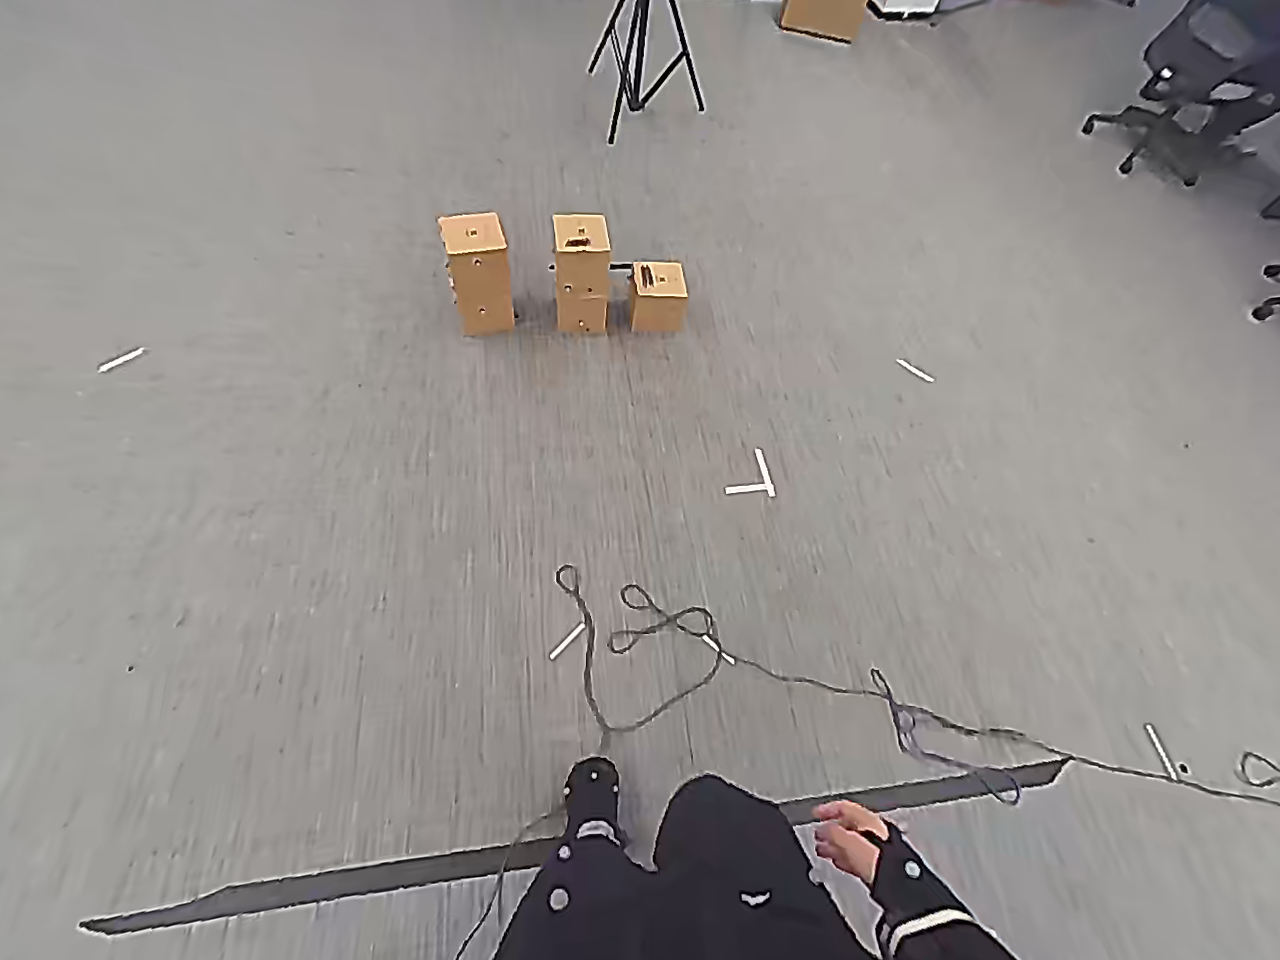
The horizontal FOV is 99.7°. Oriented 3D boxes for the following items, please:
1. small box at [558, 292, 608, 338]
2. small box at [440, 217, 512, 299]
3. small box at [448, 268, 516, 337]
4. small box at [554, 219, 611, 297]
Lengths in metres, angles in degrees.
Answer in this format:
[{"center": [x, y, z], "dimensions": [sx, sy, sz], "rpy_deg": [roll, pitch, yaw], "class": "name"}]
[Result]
[{"center": [-0.202, -0.618, 1.868], "dimensions": [0.168, 0.176, 0.179], "rpy_deg": [-1, 62, -8], "class": "small box"}, {"center": [-0.504, -0.683, 1.676], "dimensions": [0.179, 0.176, 0.168], "rpy_deg": [-13, 65, -16], "class": "small box"}, {"center": [-0.527, -0.604, 1.817], "dimensions": [0.179, 0.176, 0.168], "rpy_deg": [-15, 65, -14], "class": "small box"}, {"center": [-0.186, -0.705, 1.729], "dimensions": [0.168, 0.176, 0.179], "rpy_deg": [-4, 61, -10], "class": "small box"}]
